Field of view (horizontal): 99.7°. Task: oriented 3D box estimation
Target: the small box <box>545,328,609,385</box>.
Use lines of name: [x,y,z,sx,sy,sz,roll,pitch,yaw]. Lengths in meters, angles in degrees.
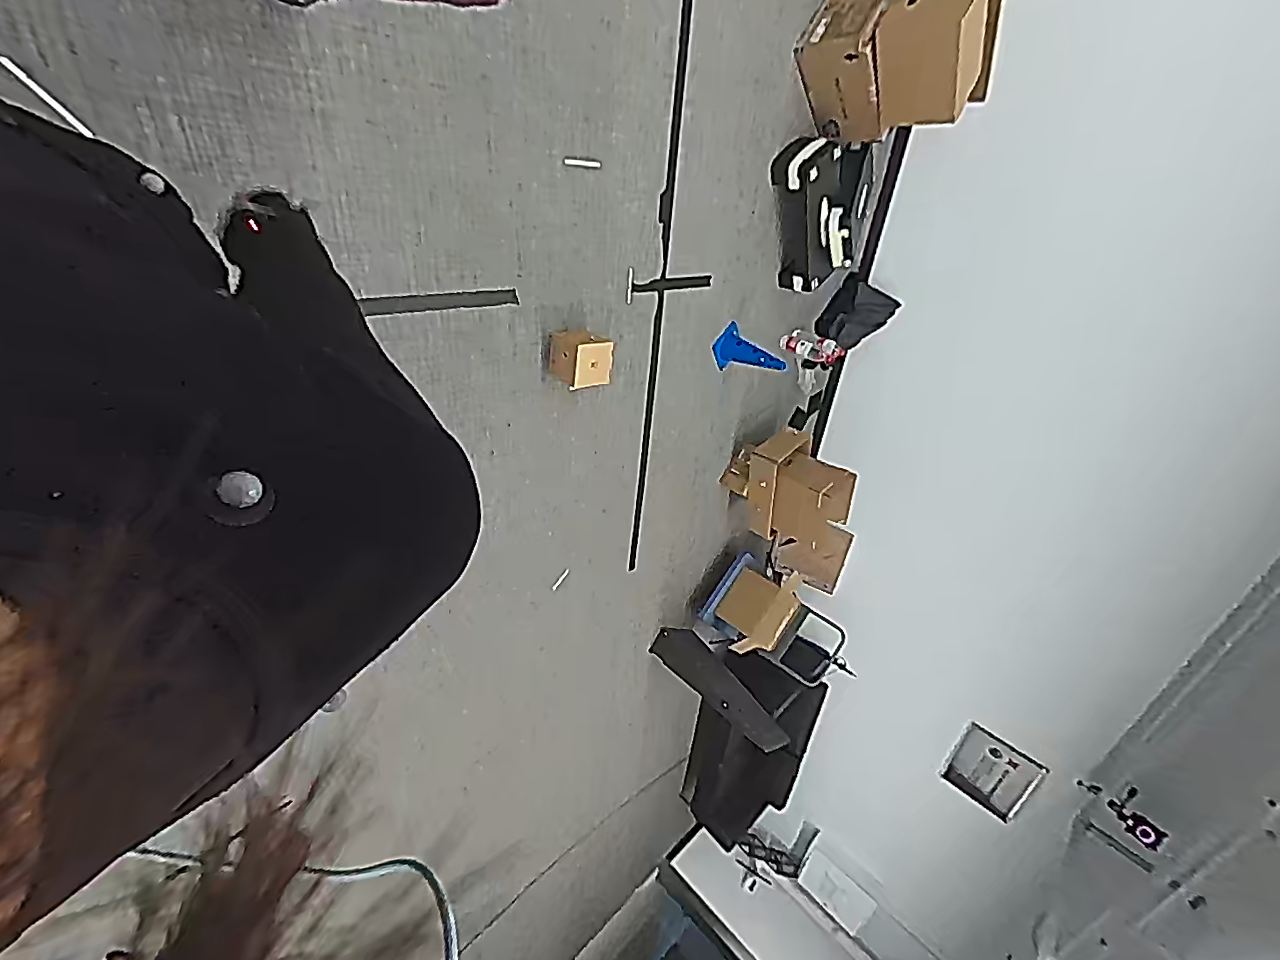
small box: [-0.244,-0.473,2.057,0.179,0.176,0.168,-19,129,-43]
